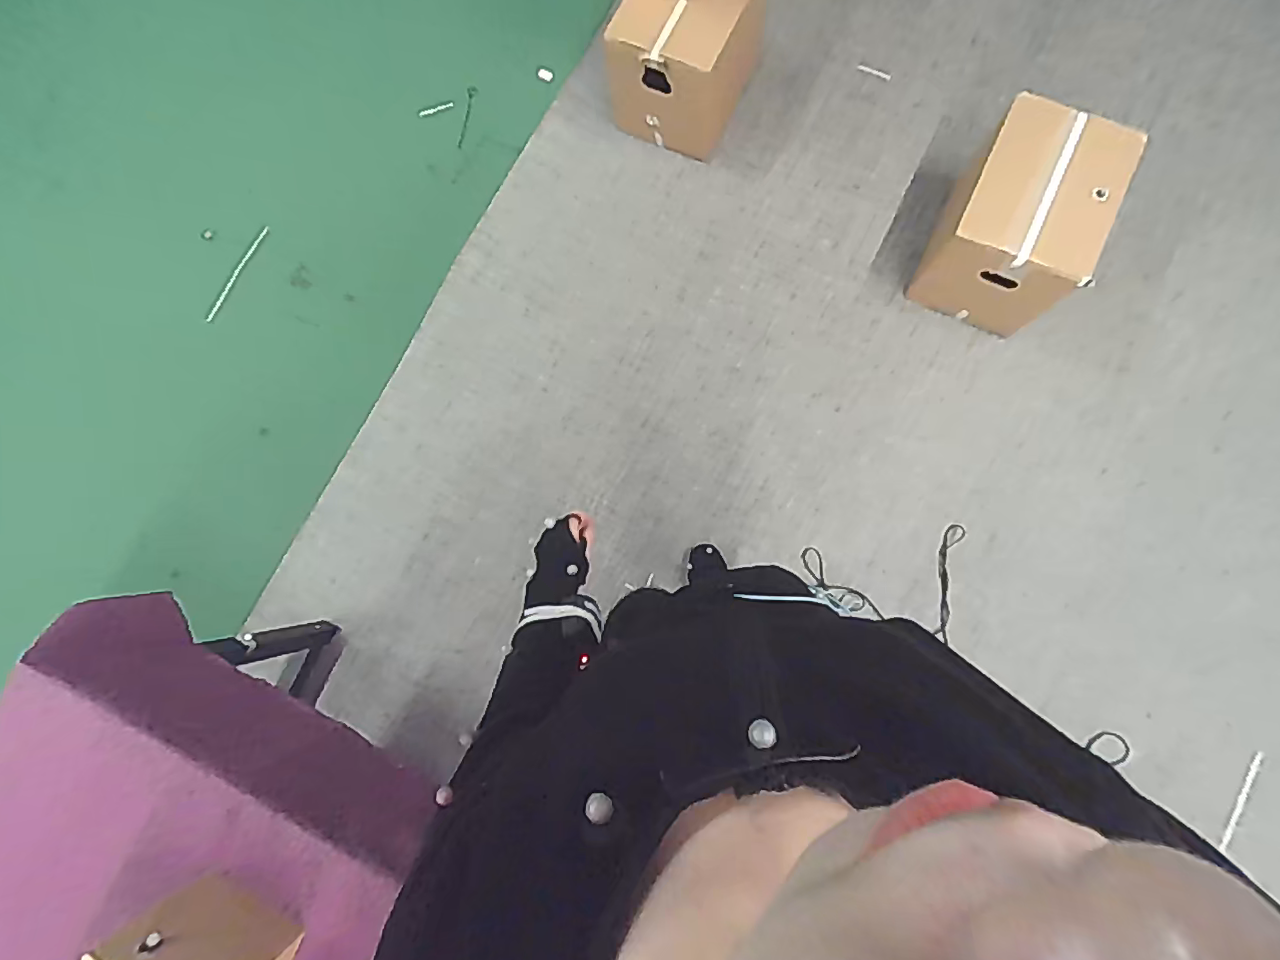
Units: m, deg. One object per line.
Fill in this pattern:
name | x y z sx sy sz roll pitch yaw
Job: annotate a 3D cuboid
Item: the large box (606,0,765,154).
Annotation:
large box | 0.144 -1.262 1.570 0.320 0.320 0.408 25 84 9
